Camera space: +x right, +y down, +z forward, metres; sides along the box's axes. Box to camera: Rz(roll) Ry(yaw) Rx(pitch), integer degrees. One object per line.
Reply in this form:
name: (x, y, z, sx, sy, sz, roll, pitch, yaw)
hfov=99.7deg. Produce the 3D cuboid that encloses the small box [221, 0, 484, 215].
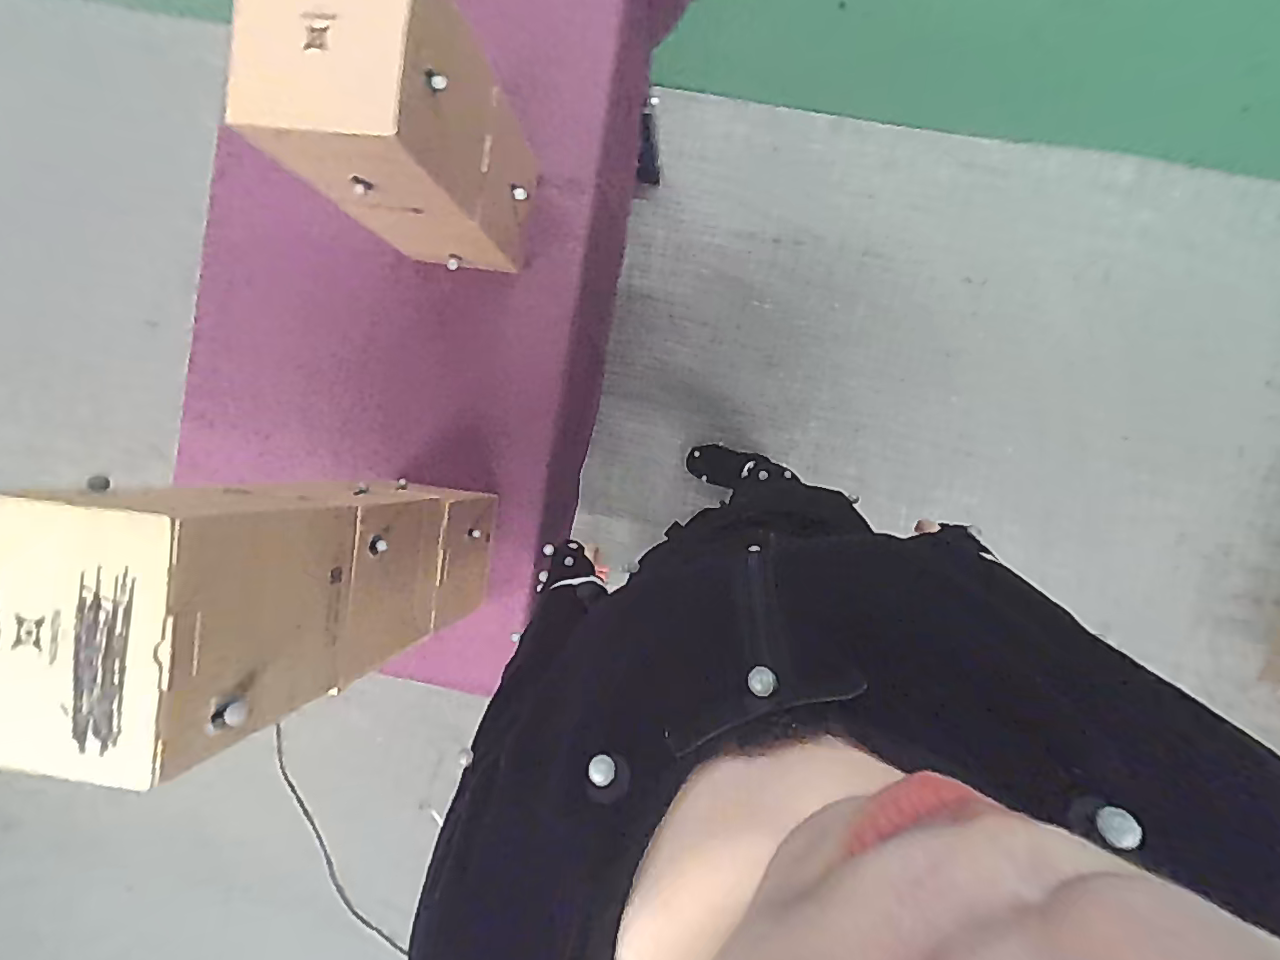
small box: (-0.274, -0.396, 0.550, 0.168, 0.176, 0.179, 9, 92, 5)

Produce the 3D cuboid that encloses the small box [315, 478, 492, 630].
small box: (-0.318, 0.088, 0.734, 0.179, 0.176, 0.168, 8, 91, 6)

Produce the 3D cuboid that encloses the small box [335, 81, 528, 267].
small box: (-0.260, -0.398, 0.715, 0.179, 0.176, 0.168, 9, 92, 5)

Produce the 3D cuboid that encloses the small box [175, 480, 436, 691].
small box: (-0.335, 0.096, 0.573, 0.168, 0.176, 0.179, 6, 91, 5)
